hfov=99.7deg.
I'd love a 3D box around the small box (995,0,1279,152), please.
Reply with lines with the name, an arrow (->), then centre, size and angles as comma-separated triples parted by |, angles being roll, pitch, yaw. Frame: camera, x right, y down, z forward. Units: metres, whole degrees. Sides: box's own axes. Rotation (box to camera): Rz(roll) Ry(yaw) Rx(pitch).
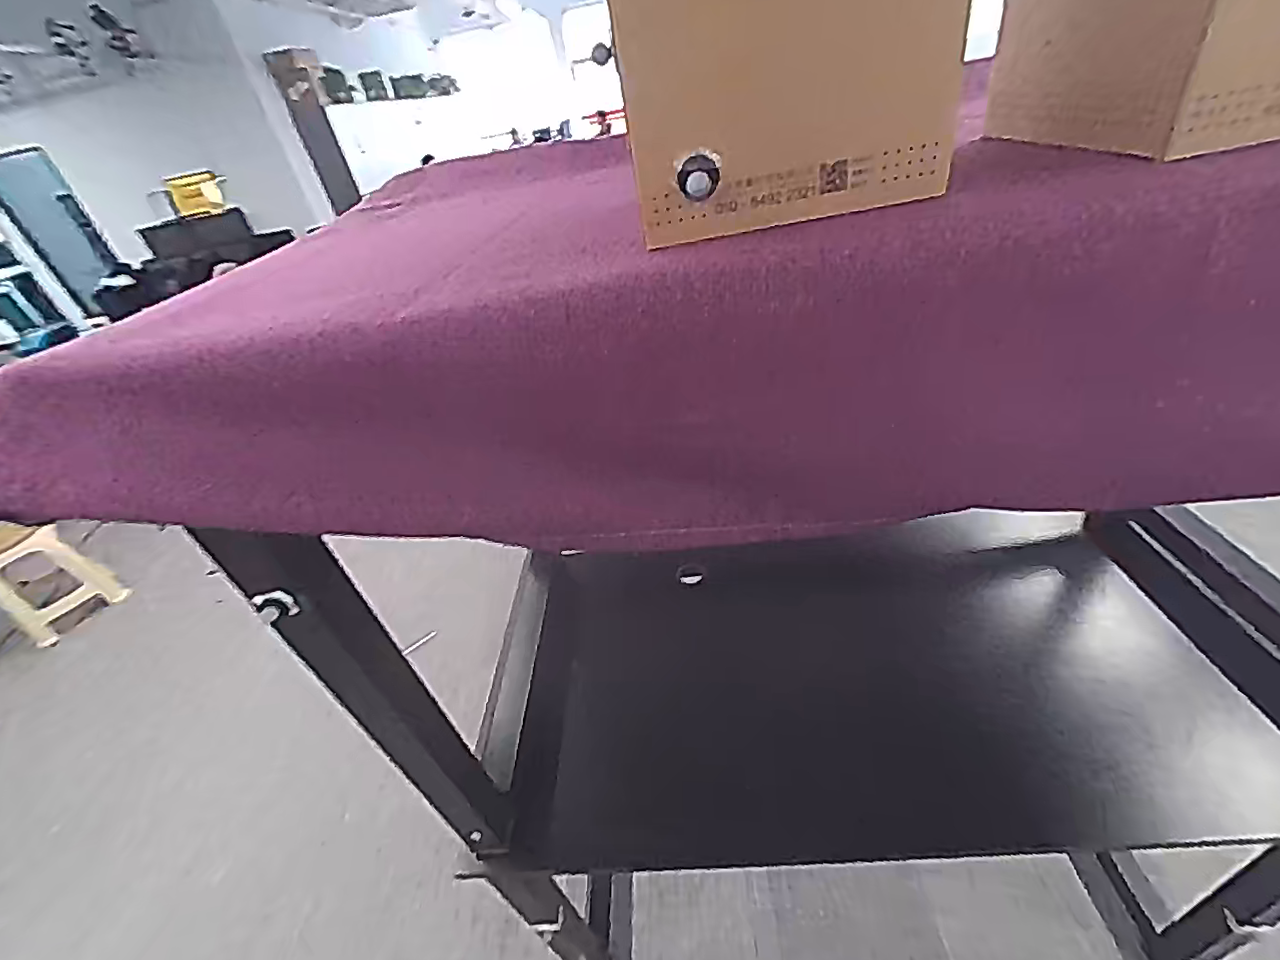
small box -> 0.325, -0.284, 0.283 | 0.168, 0.176, 0.179 | -9, 35, 5

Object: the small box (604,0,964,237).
small box -> 0.068, -0.252, 0.313 | 0.168, 0.176, 0.179 | -8, 35, 4
